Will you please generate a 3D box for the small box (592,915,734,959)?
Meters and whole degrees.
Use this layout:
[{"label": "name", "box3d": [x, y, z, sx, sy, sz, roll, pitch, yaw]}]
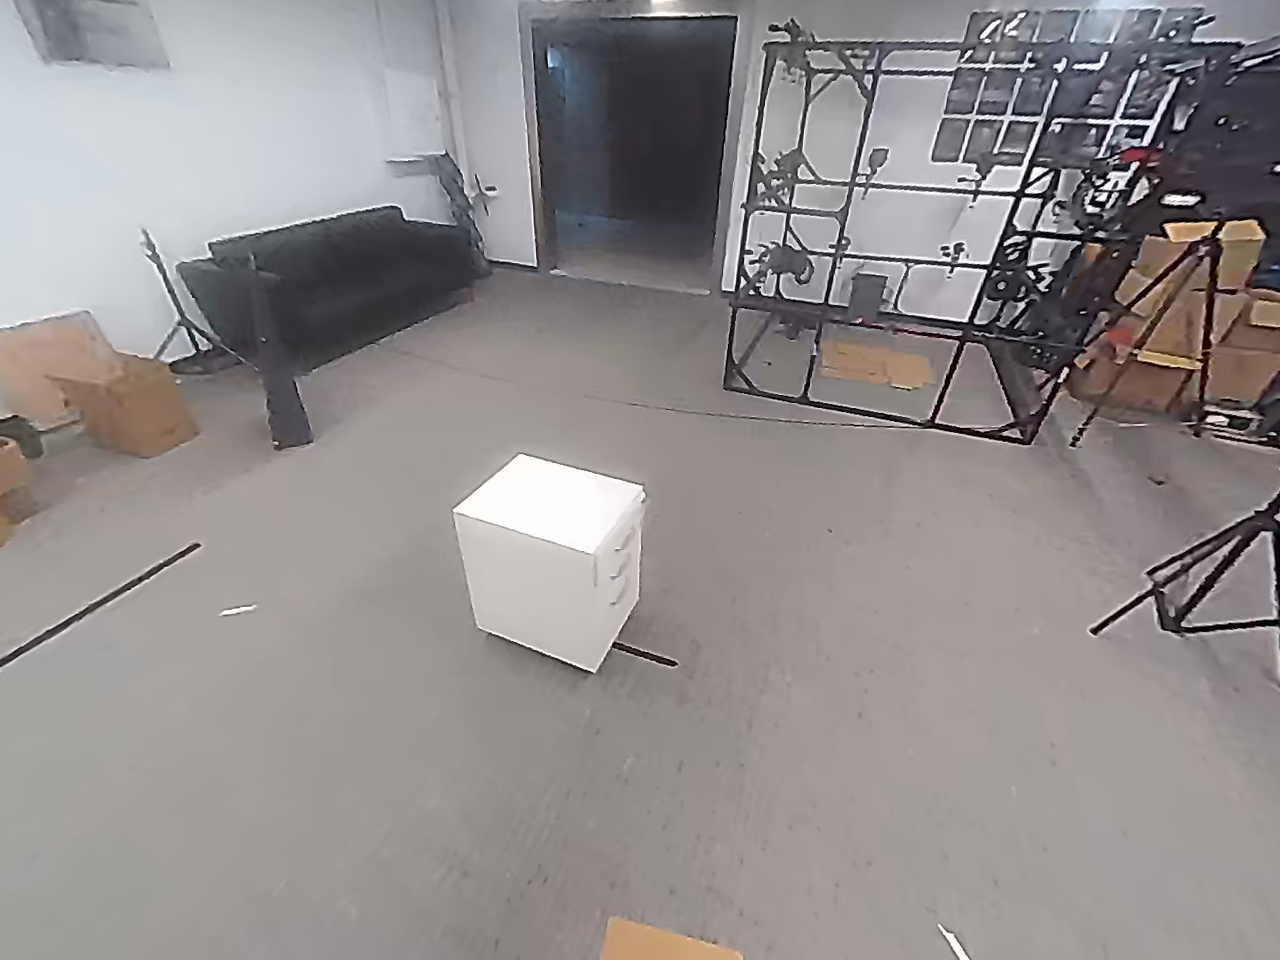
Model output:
[{"label": "small box", "box3d": [0.016, 0.657, 0.639, 0.168, 0.176, 0.179, 6, 44, 11]}]
